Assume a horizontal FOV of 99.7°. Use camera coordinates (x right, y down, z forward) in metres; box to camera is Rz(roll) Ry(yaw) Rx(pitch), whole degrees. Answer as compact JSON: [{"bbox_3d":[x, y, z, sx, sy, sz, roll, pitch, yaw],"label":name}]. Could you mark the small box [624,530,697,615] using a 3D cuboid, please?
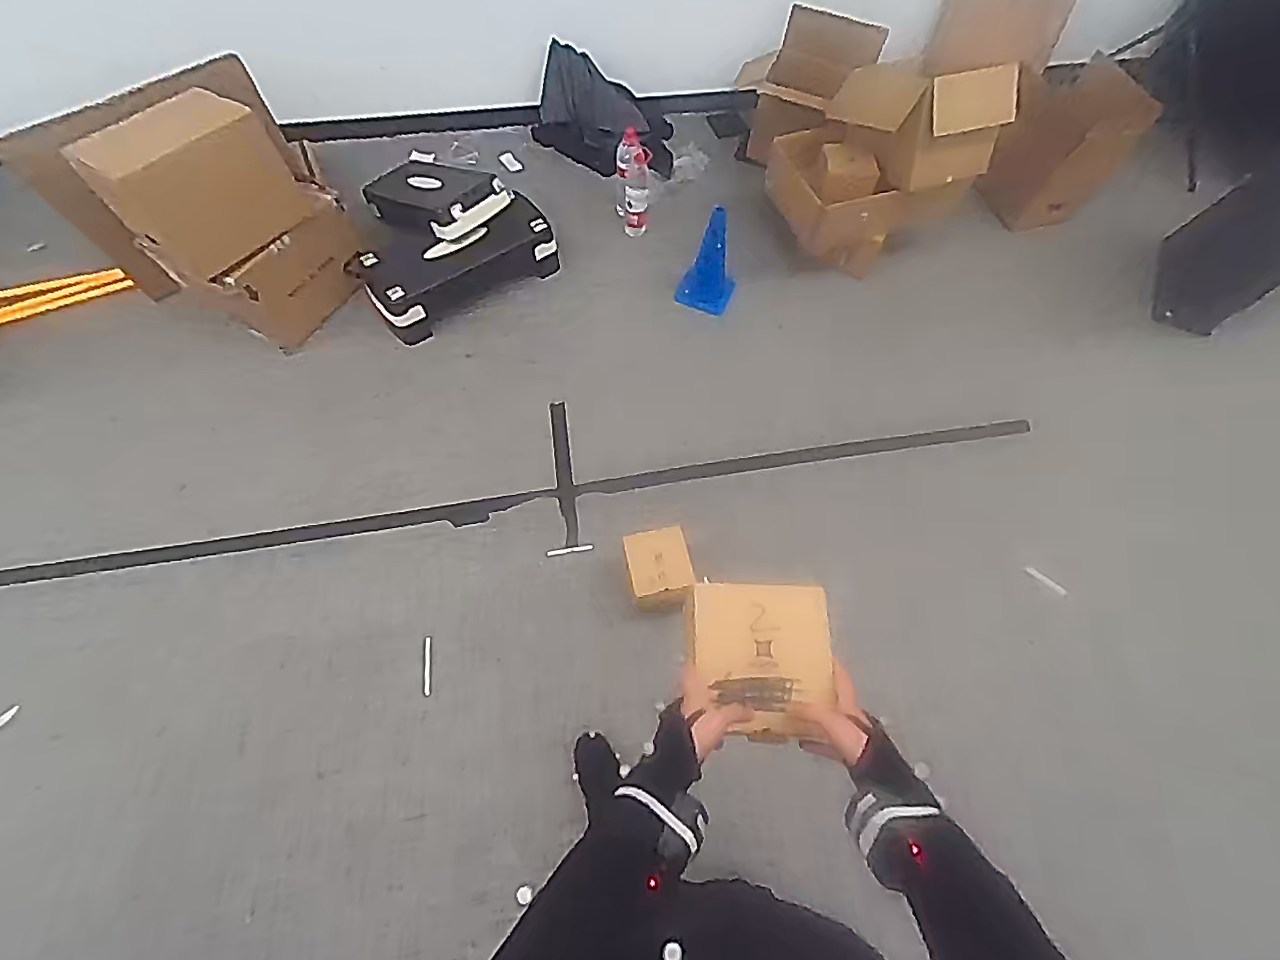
[{"bbox_3d":[0.050,0.263,1.515,0.168,0.176,0.179,-11,65,-7],"label":"small box"}]
